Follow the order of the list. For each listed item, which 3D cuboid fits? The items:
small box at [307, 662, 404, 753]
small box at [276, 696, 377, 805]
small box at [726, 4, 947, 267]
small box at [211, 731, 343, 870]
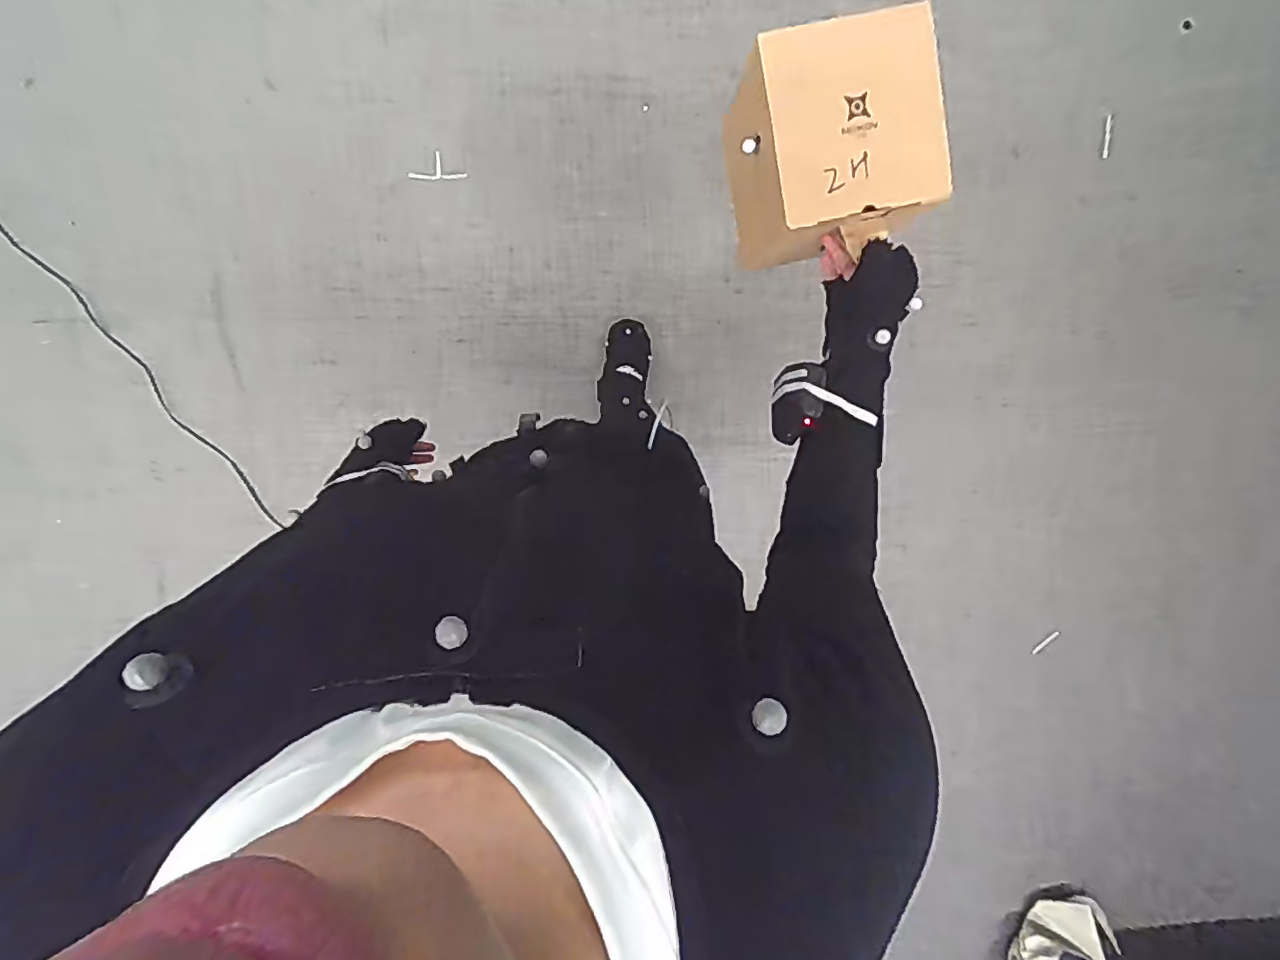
[{"bbox_3d":[-0.741,0.594,1.425,0.168,0.176,0.179,-2,97,-1],"label":"small box"},{"bbox_3d":[-0.732,0.623,1.261,0.168,0.176,0.179,1,99,-5],"label":"small box"},{"bbox_3d":[0.199,-0.354,0.589,0.168,0.176,0.179,-11,99,-1],"label":"small box"},{"bbox_3d":[-0.728,0.645,1.100,0.168,0.176,0.179,6,98,-5],"label":"small box"}]
